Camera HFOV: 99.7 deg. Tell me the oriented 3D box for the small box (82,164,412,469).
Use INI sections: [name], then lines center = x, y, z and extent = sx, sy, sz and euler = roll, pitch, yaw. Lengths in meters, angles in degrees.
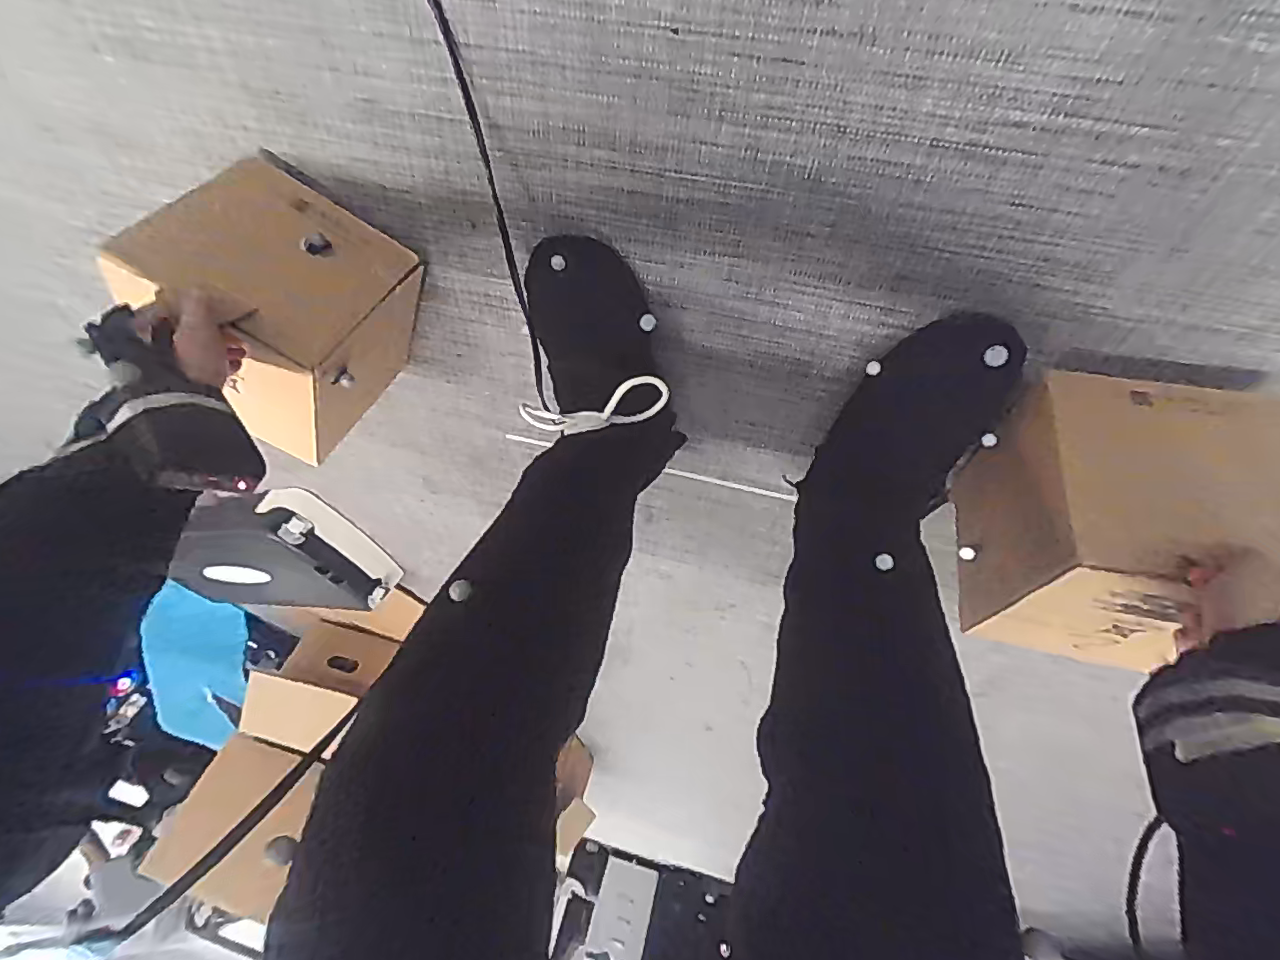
[small box]
center = -0.339, -0.146, 0.512
extent = 0.168, 0.176, 0.179
euler = 30, 145, -12
